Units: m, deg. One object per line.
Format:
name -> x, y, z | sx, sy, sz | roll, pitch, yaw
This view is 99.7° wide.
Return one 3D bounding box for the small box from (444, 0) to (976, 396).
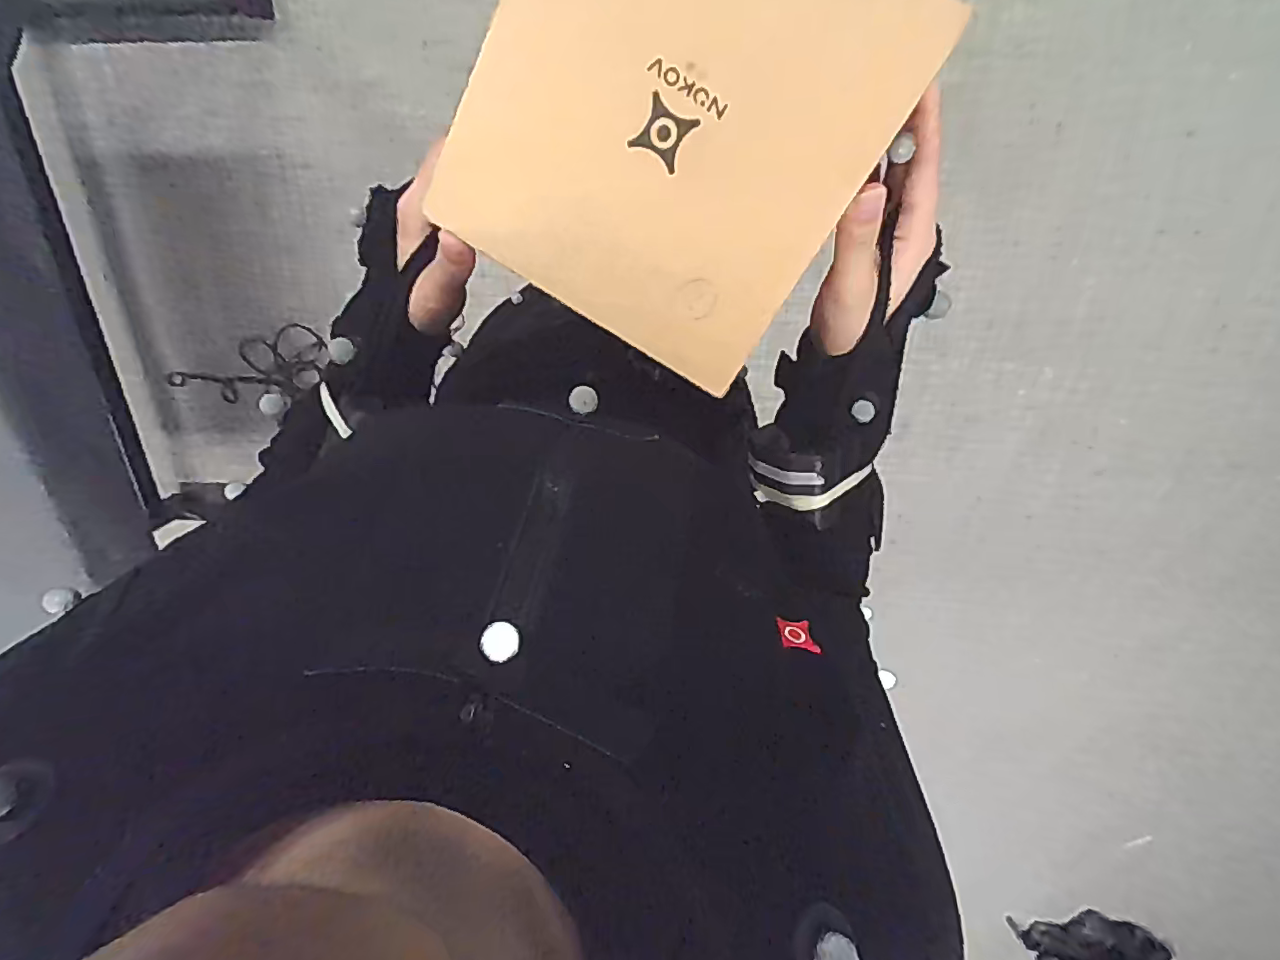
small box -> 0.028, -0.174, 0.304 | 0.168, 0.176, 0.179 | 31, 109, -5
